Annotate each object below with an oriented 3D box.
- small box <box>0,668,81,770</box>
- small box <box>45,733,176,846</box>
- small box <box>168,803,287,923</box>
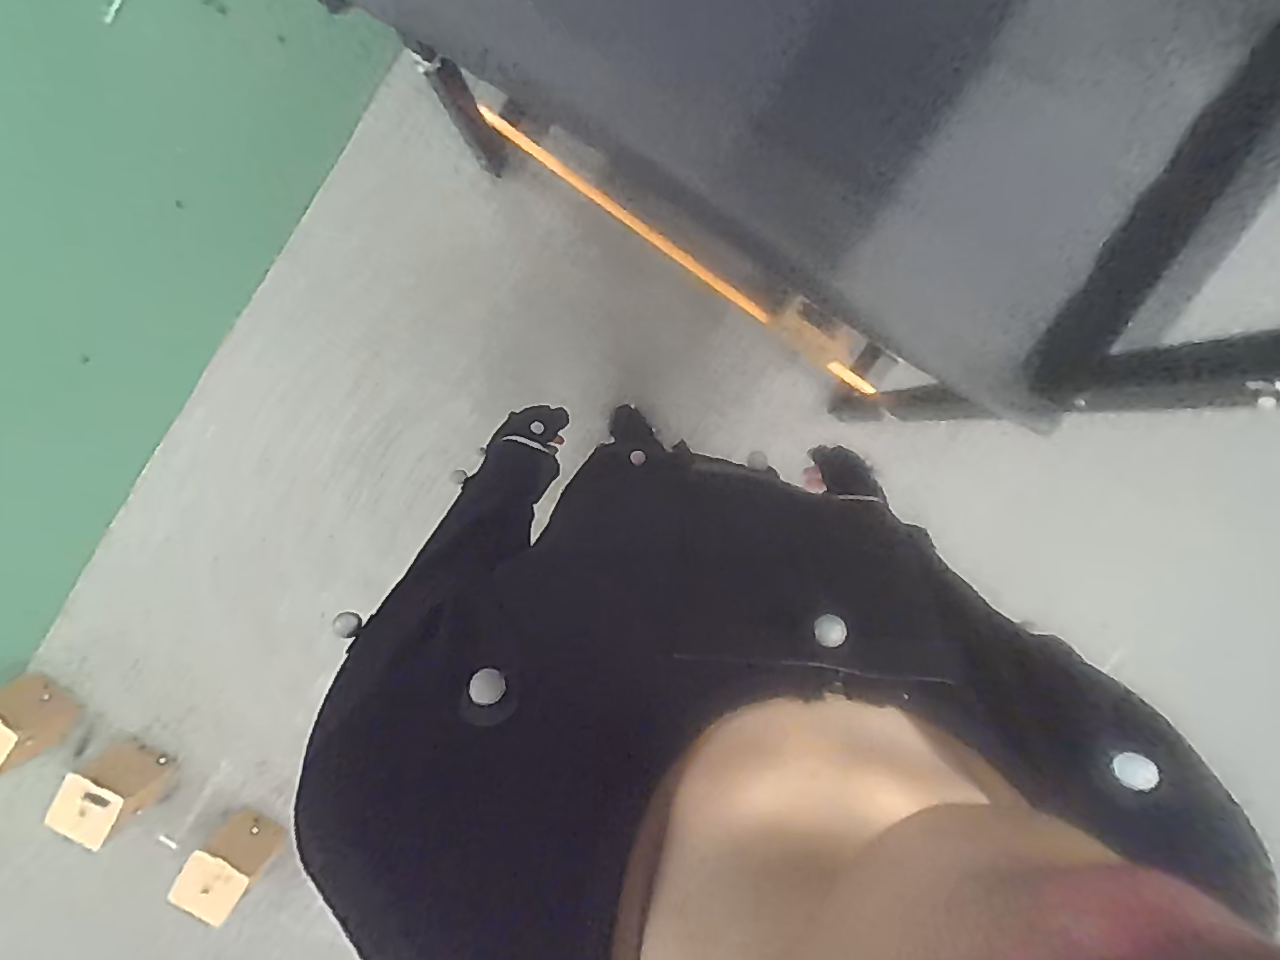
[{"bbox_3d":[-1.704,0.653,1.472,0.168,0.176,0.179,36,94,-4],"label":"small box"},{"bbox_3d":[-1.440,0.840,1.486,0.168,0.176,0.179,31,95,-2],"label":"small box"},{"bbox_3d":[-1.133,1.055,1.502,0.168,0.176,0.179,33,94,-4],"label":"small box"}]
